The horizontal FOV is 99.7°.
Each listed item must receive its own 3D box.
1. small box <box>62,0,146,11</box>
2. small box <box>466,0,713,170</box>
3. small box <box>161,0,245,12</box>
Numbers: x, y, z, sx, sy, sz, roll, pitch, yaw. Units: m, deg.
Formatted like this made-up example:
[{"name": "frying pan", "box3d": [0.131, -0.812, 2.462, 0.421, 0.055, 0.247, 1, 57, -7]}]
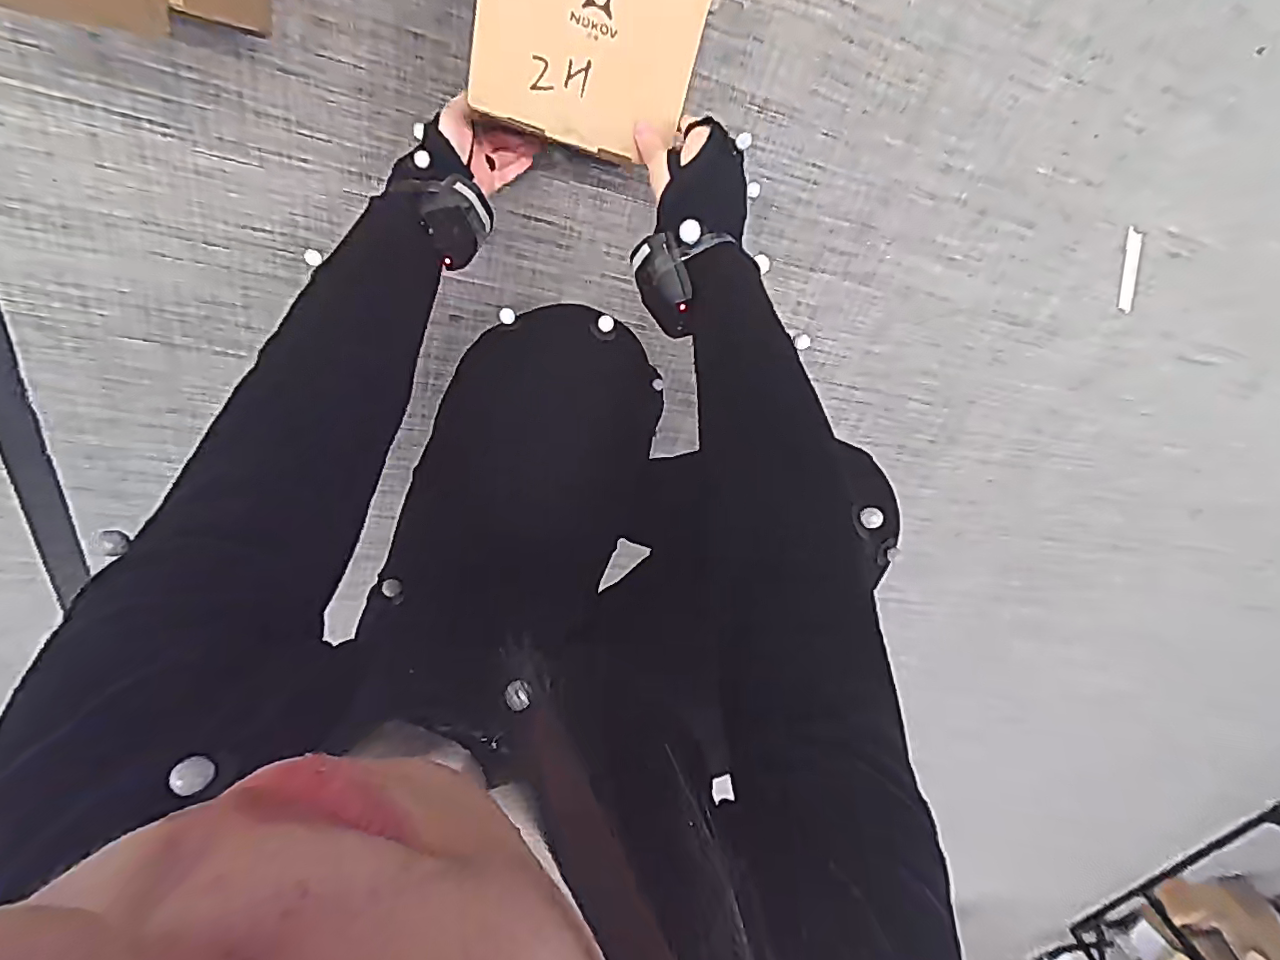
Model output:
[{"name": "small box", "box3d": [-0.344, -0.339, 0.222, 0.168, 0.176, 0.179, 13, 120, -21]}, {"name": "small box", "box3d": [-0.047, -0.387, 0.456, 0.168, 0.176, 0.179, 9, 120, -18]}, {"name": "small box", "box3d": [-0.376, -0.439, 0.349, 0.179, 0.176, 0.168, 9, 122, -20]}]
